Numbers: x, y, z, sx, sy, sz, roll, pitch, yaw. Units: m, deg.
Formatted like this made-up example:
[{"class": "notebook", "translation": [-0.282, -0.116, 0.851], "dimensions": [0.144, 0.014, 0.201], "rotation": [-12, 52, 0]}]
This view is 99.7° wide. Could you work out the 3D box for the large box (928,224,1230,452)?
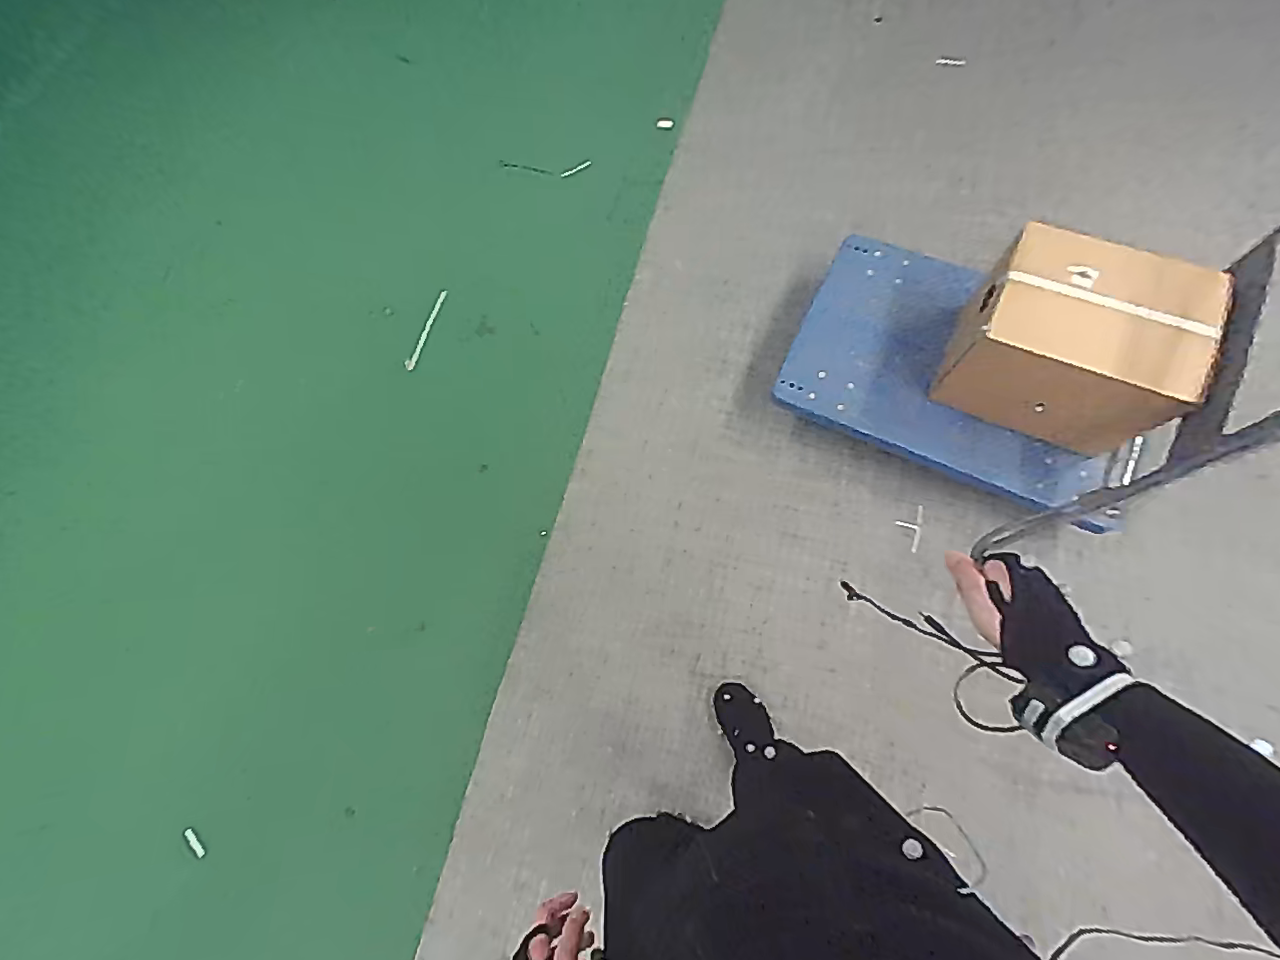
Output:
[{"class": "large box", "translation": [0.961, -0.309, 1.238], "dimensions": [0.408, 0.320, 0.320], "rotation": [24, 77, 15]}]
